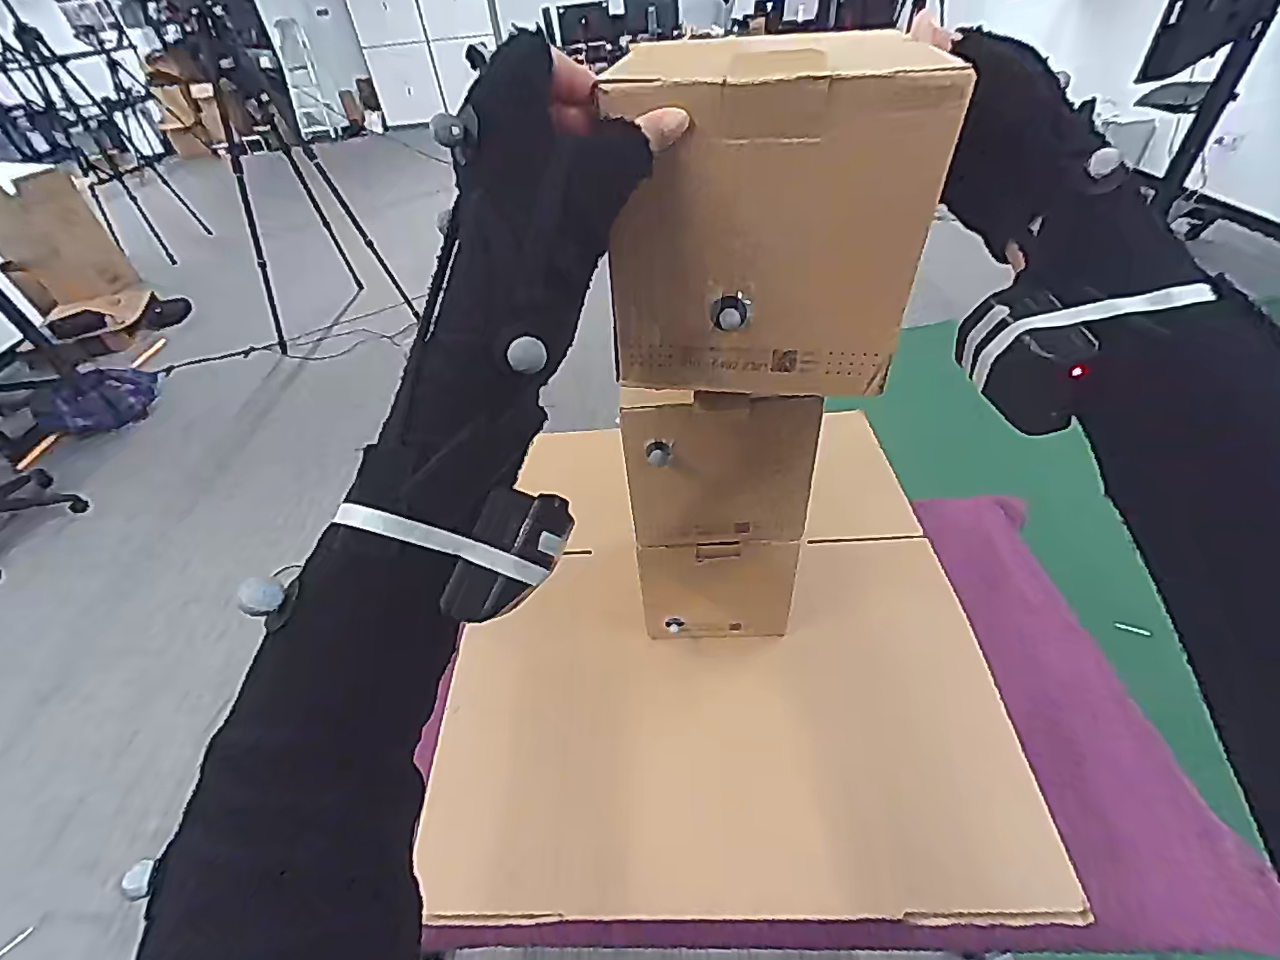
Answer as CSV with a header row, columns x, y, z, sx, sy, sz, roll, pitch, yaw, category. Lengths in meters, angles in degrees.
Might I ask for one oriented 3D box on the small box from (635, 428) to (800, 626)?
x,y,z,sx,sy,sz,roll,pitch,yaw,category
0.084,0.062,0.650,0.168,0.176,0.179,-4,44,2,small box
